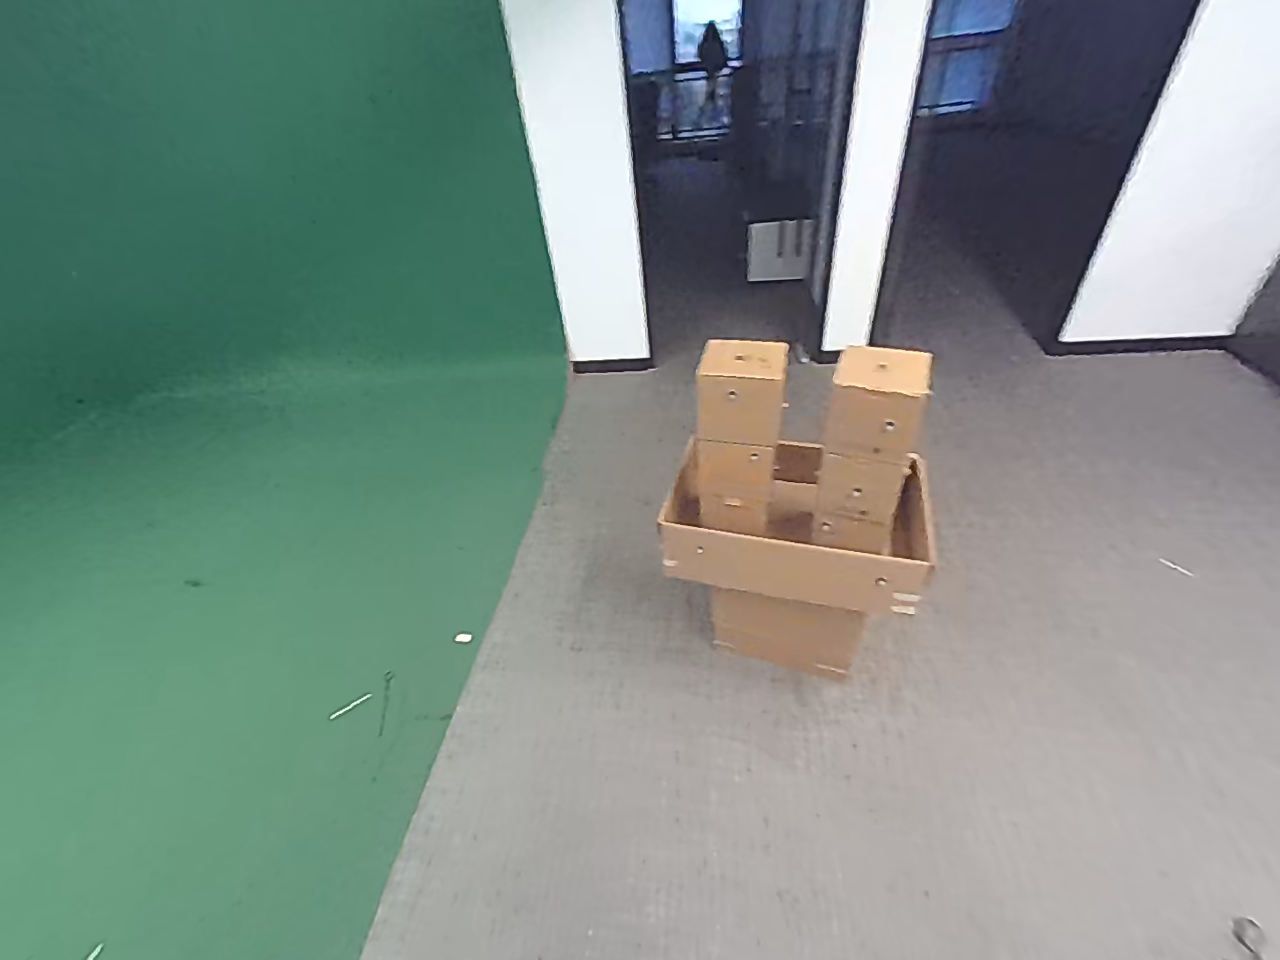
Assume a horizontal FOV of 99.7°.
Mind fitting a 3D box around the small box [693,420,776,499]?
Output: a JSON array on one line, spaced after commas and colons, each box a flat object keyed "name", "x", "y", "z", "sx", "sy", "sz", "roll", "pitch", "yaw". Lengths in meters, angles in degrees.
[{"name": "small box", "x": 0.230, "y": -0.072, "z": 1.319, "sx": 0.179, "sy": 0.176, "sz": 0.168, "roll": 8, "pitch": 42, "yaw": 14}]

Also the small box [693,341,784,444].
[{"name": "small box", "x": 0.219, "y": -0.196, "z": 1.211, "sx": 0.179, "sy": 0.176, "sz": 0.168, "roll": 8, "pitch": 42, "yaw": 14}]

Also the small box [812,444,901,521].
[{"name": "small box", "x": 0.495, "y": -0.030, "z": 1.232, "sx": 0.168, "sy": 0.176, "sz": 0.179, "roll": 12, "pitch": 44, "yaw": 21}]

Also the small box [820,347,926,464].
[{"name": "small box", "x": 0.481, "y": -0.156, "z": 1.128, "sx": 0.168, "sy": 0.176, "sz": 0.179, "roll": 14, "pitch": 43, "yaw": 21}]
